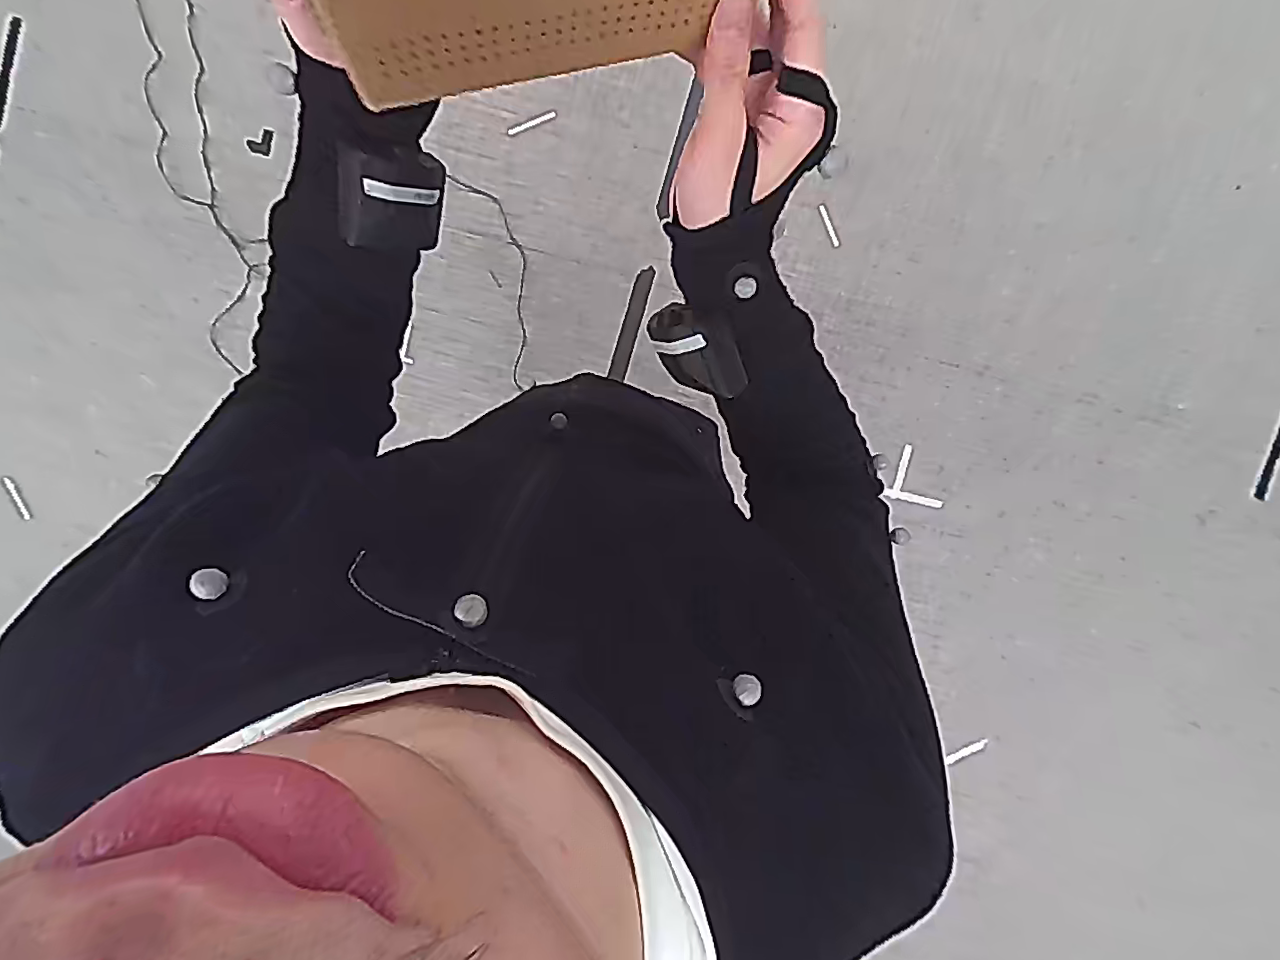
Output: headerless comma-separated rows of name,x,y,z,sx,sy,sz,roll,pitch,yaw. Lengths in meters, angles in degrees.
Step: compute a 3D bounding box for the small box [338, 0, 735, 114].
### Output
small box,-0.044,-0.265,0.172,0.179,0.176,0.168,-20,90,-7
